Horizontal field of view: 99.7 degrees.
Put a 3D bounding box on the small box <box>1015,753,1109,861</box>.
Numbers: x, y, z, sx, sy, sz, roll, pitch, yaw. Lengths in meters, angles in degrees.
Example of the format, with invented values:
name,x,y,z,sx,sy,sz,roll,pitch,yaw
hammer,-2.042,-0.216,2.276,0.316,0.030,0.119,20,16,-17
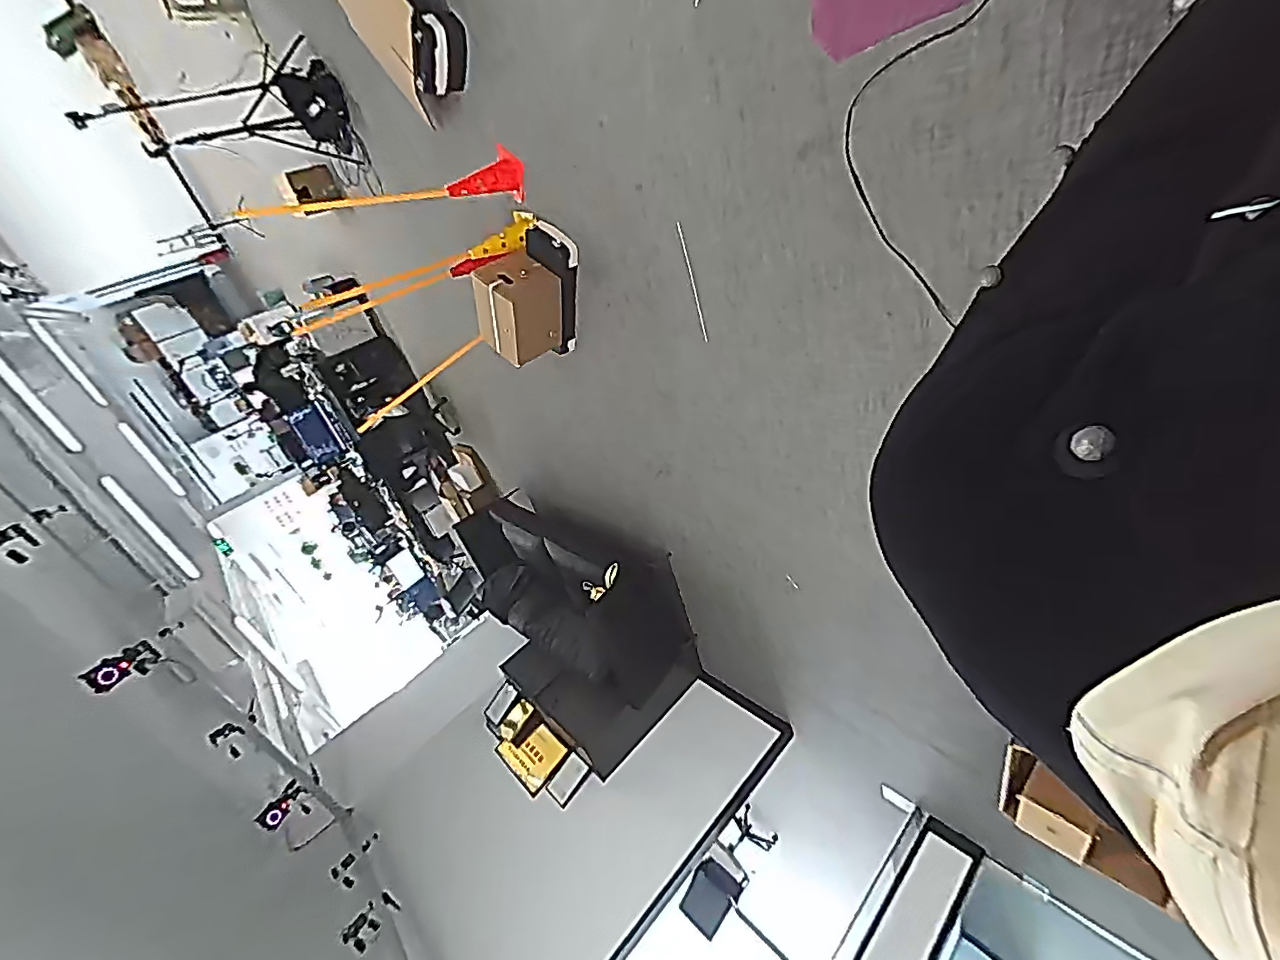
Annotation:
name,x,y,z,sx,sy,sz,roll,pitch,yaw
small box,1.230,0.947,1.577,0.168,0.176,0.179,22,137,45
